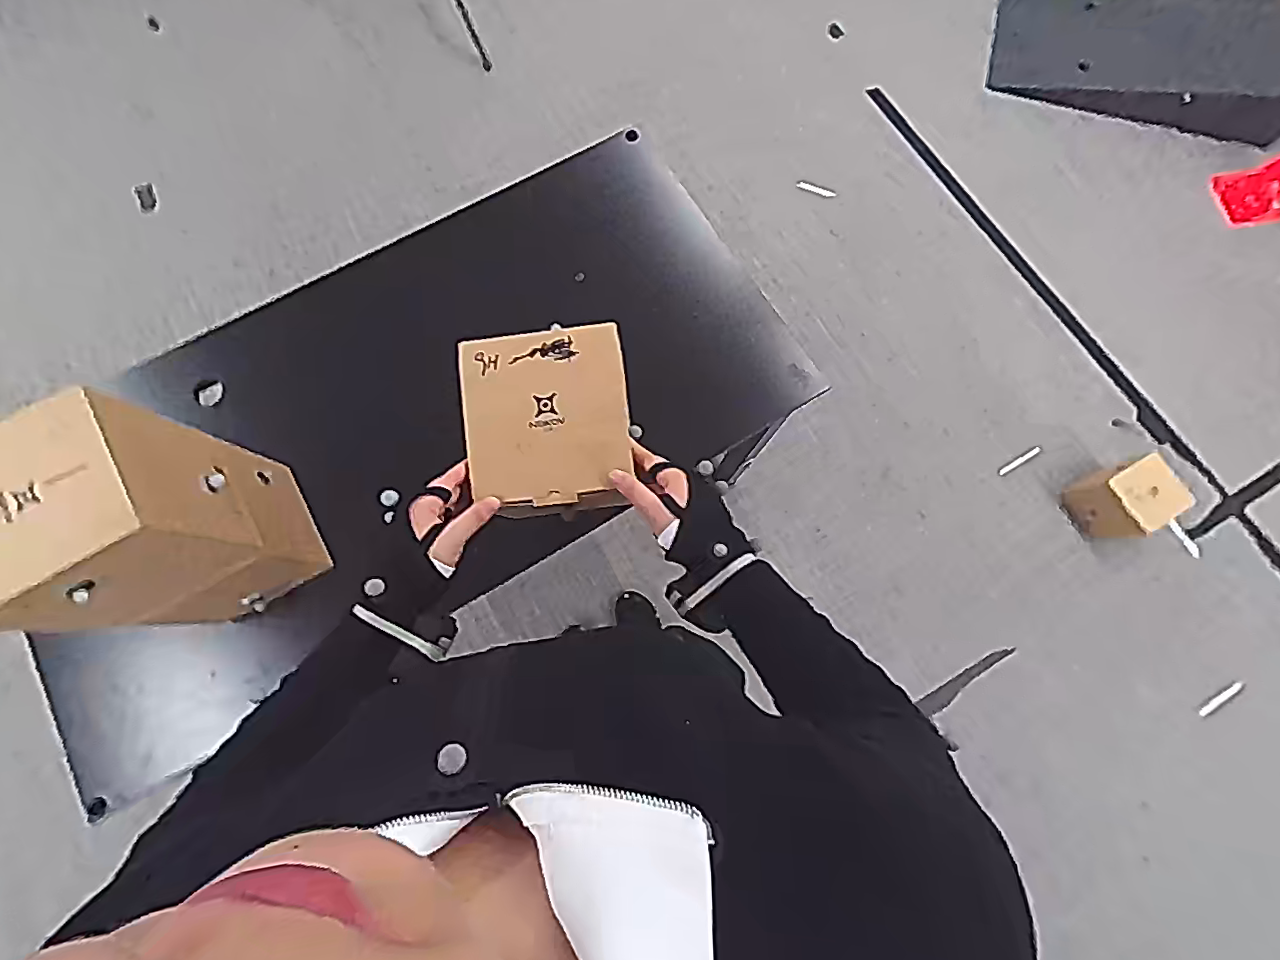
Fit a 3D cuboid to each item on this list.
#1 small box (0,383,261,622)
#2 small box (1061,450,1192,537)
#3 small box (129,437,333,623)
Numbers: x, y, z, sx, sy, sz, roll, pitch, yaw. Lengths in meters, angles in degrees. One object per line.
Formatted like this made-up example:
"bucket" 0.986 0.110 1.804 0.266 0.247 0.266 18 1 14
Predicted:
"small box" -0.555 0.037 0.563 0.179 0.176 0.168 -31 79 -8
"small box" 1.344 0.042 1.509 0.179 0.176 0.168 -29 78 -7
"small box" -0.558 0.074 0.723 0.168 0.176 0.179 -31 80 -7
